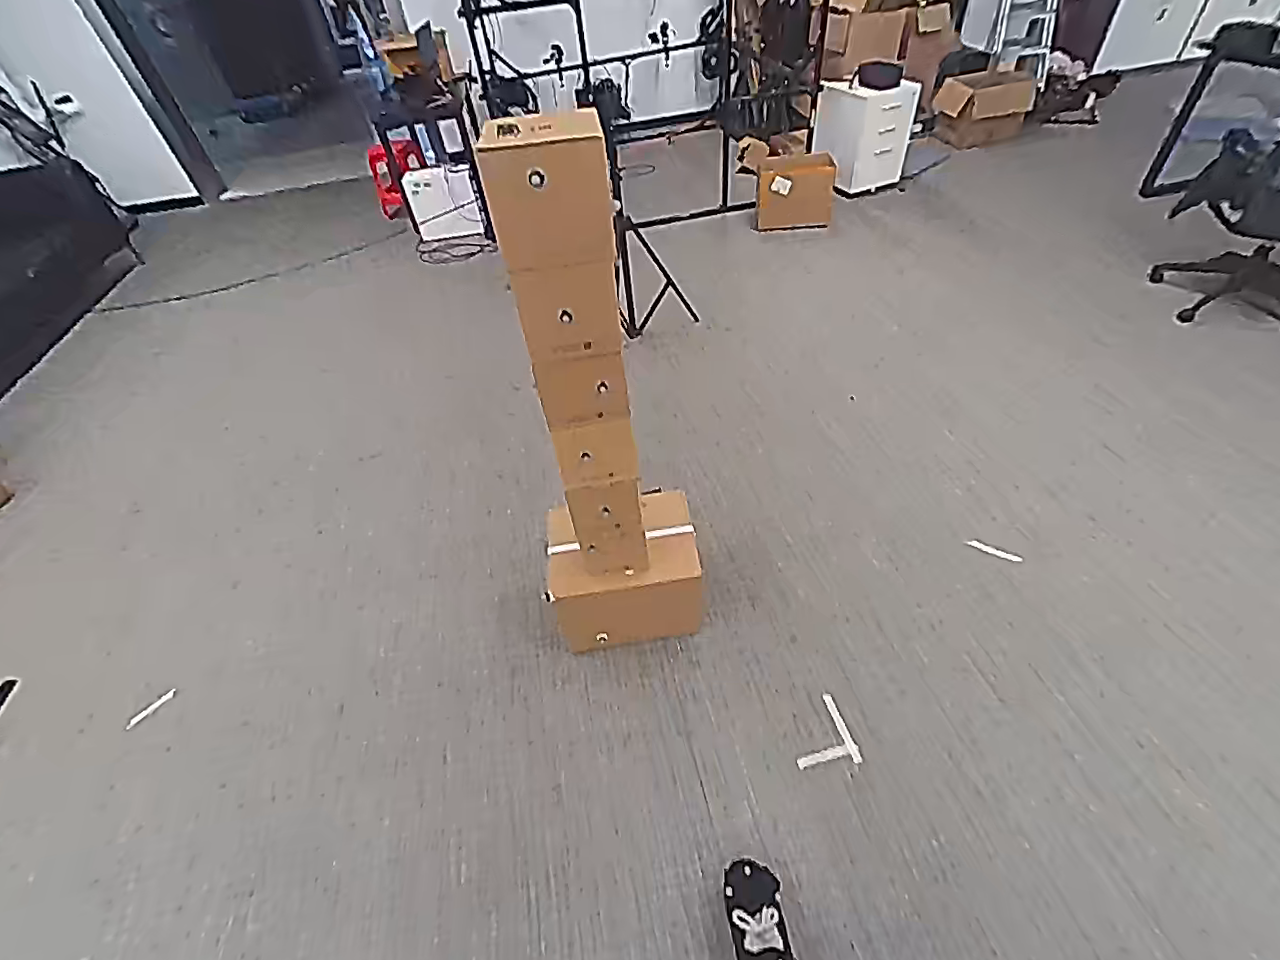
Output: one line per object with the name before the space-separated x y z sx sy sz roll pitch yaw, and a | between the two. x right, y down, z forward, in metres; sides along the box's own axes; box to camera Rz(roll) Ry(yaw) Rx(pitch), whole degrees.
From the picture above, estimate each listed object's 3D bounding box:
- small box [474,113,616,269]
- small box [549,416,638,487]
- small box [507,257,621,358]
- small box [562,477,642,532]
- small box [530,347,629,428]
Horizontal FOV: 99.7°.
small box | -0.137 -0.439 0.829 0.179 0.176 0.168 -8 45 -2
small box | -0.102 -0.101 1.183 0.168 0.176 0.179 -10 45 -2
small box | -0.127 -0.328 0.950 0.168 0.176 0.179 -8 45 -2
small box | -0.090 0.010 1.302 0.168 0.176 0.179 -8 46 -1
small box | -0.118 -0.217 1.071 0.168 0.176 0.179 -10 44 -3
